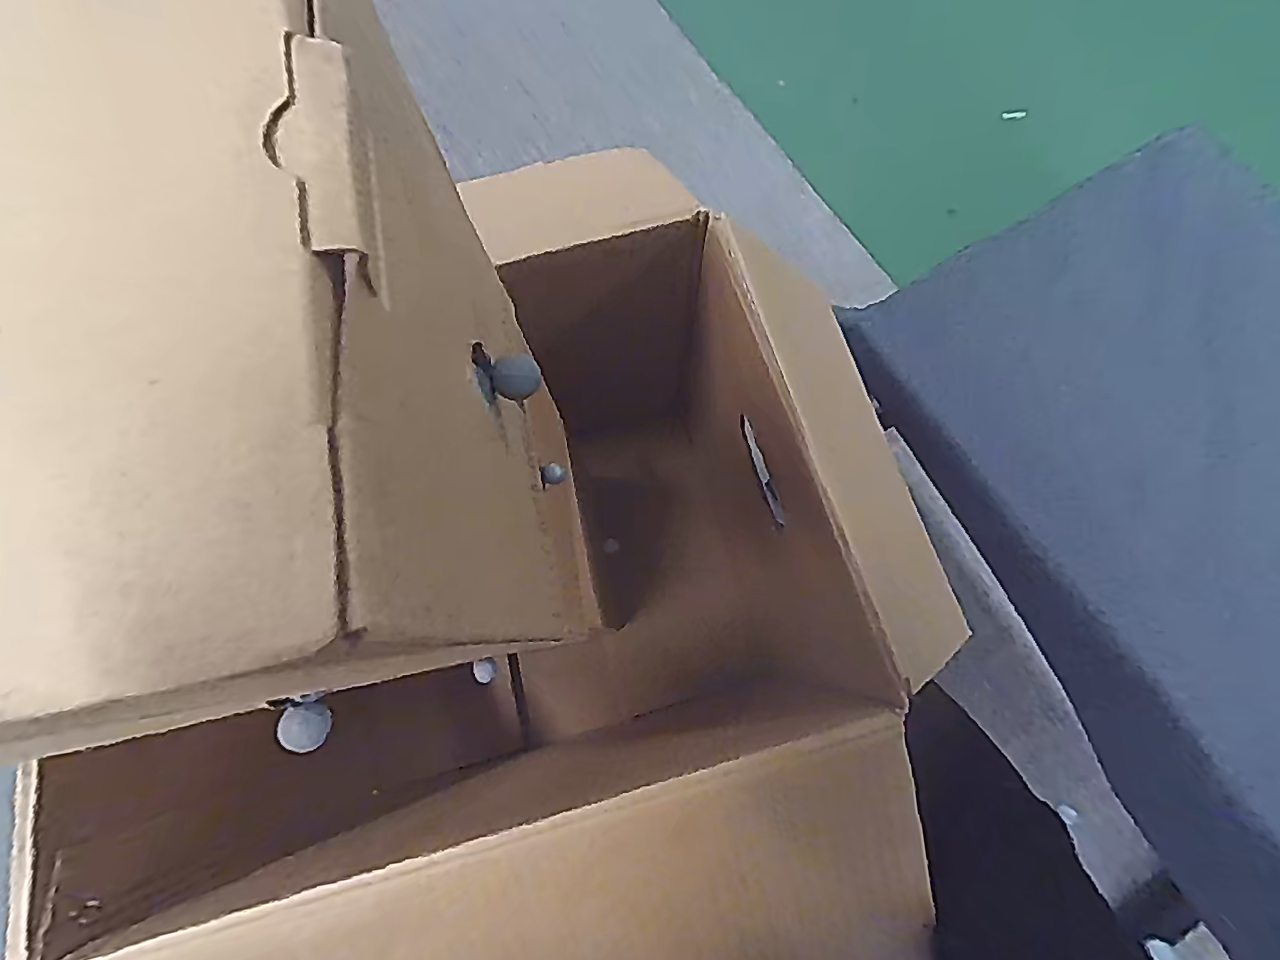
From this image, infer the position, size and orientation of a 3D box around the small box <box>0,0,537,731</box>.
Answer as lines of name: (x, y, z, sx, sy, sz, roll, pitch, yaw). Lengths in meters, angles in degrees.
small box: (-0.135, -0.022, 0.165, 0.179, 0.176, 0.168, -12, 74, -2)
